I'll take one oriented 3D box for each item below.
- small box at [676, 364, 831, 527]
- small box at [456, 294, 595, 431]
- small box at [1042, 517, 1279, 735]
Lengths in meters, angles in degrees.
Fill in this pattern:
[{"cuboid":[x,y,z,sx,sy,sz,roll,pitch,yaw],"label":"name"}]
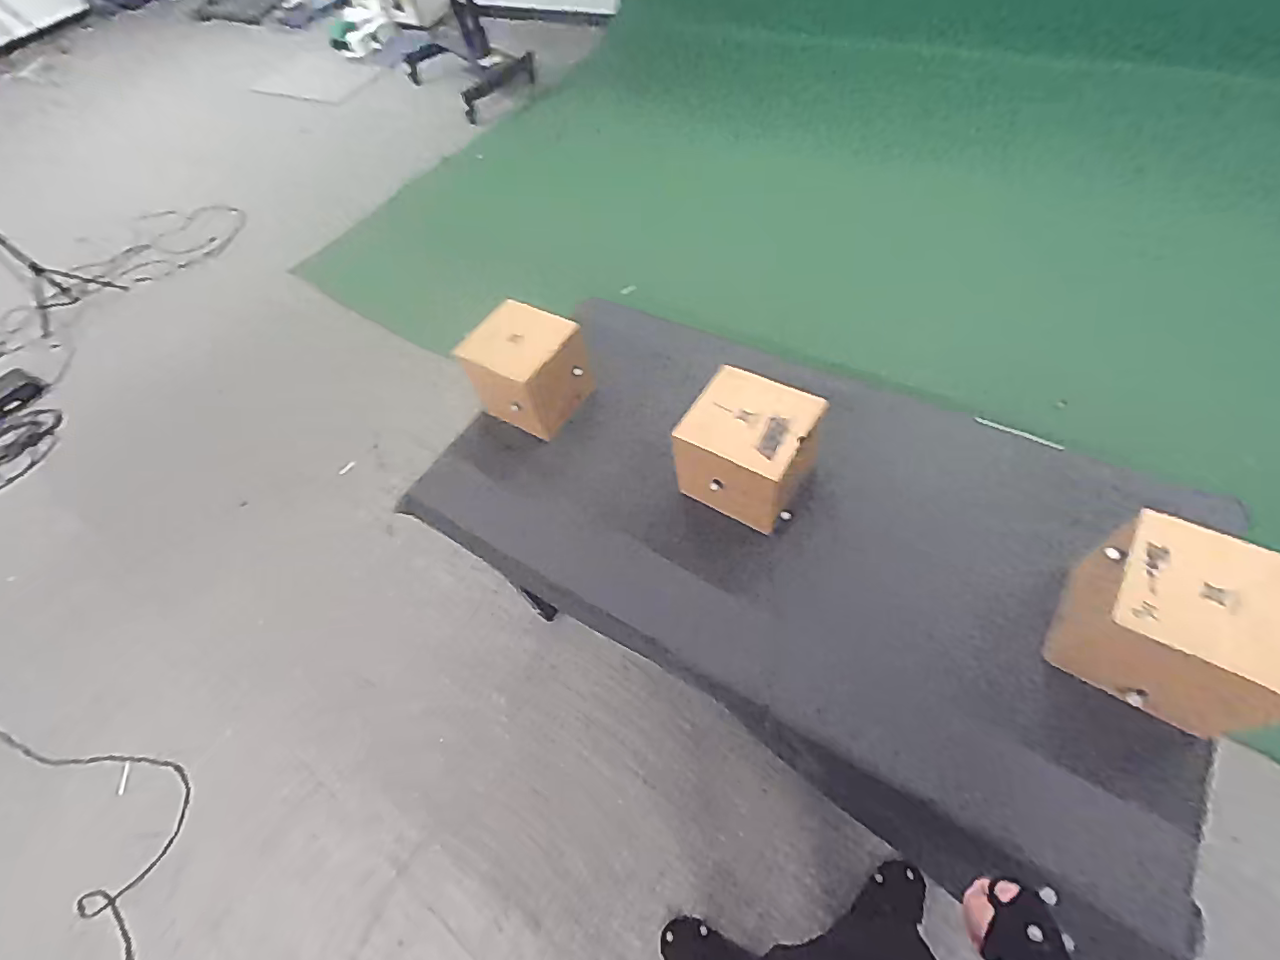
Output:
[{"cuboid":[0.178,-0.049,0.867,0.179,0.176,0.168,28,64,24],"label":"small box"},{"cuboid":[-0.207,-0.219,1.033,0.179,0.176,0.168,25,62,23],"label":"small box"},{"cuboid":[0.640,0.181,0.650,0.179,0.176,0.168,28,65,23],"label":"small box"}]
